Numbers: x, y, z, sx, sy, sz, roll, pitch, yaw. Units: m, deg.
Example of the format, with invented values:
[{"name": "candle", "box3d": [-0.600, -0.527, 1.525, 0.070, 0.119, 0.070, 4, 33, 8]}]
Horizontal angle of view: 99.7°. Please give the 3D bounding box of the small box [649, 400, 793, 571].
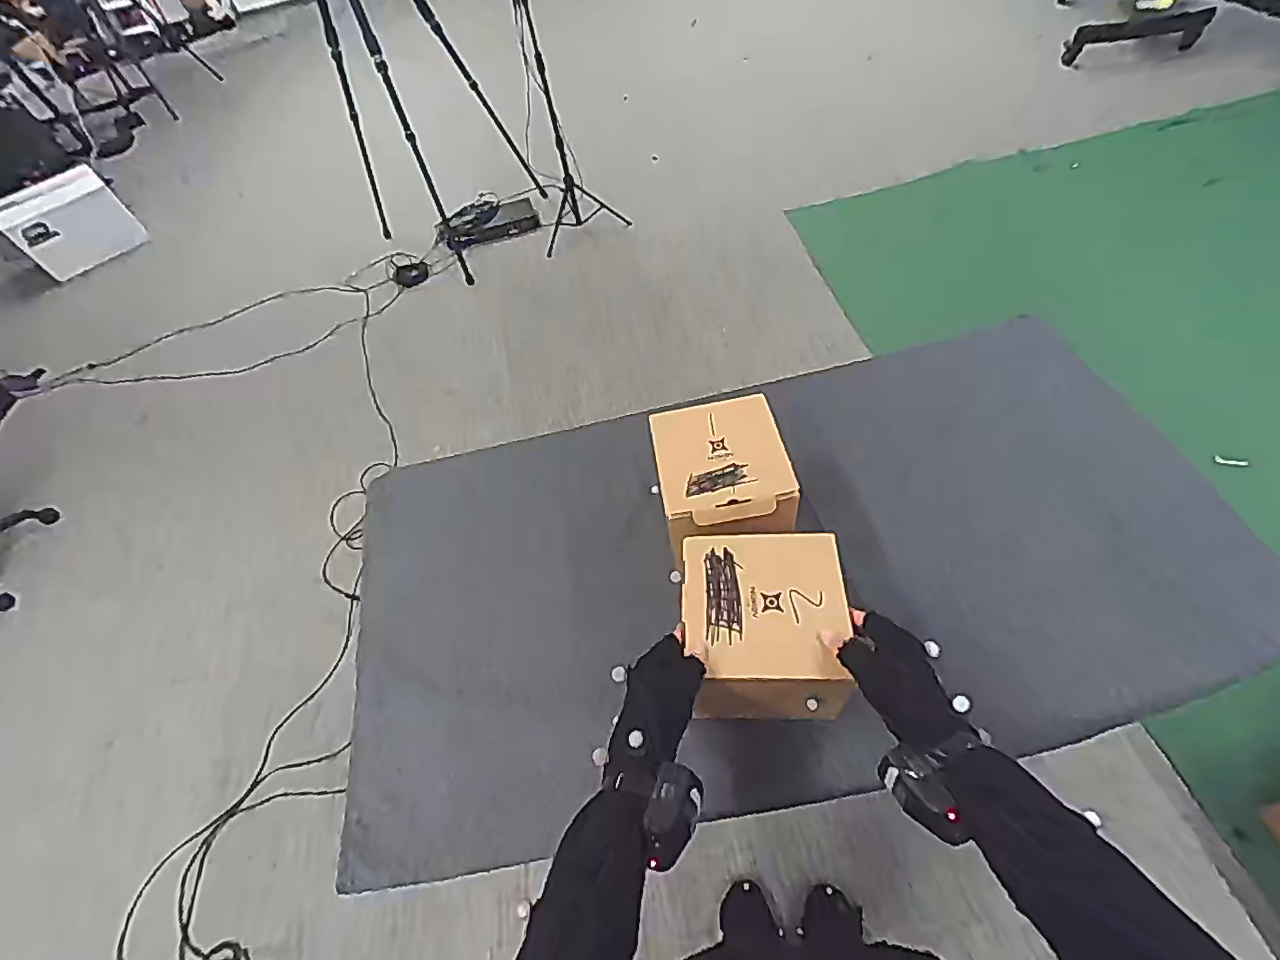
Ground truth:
[{"name": "small box", "box3d": [0.112, 0.017, 0.772, 0.168, 0.176, 0.179, -10, 53, 2]}]
